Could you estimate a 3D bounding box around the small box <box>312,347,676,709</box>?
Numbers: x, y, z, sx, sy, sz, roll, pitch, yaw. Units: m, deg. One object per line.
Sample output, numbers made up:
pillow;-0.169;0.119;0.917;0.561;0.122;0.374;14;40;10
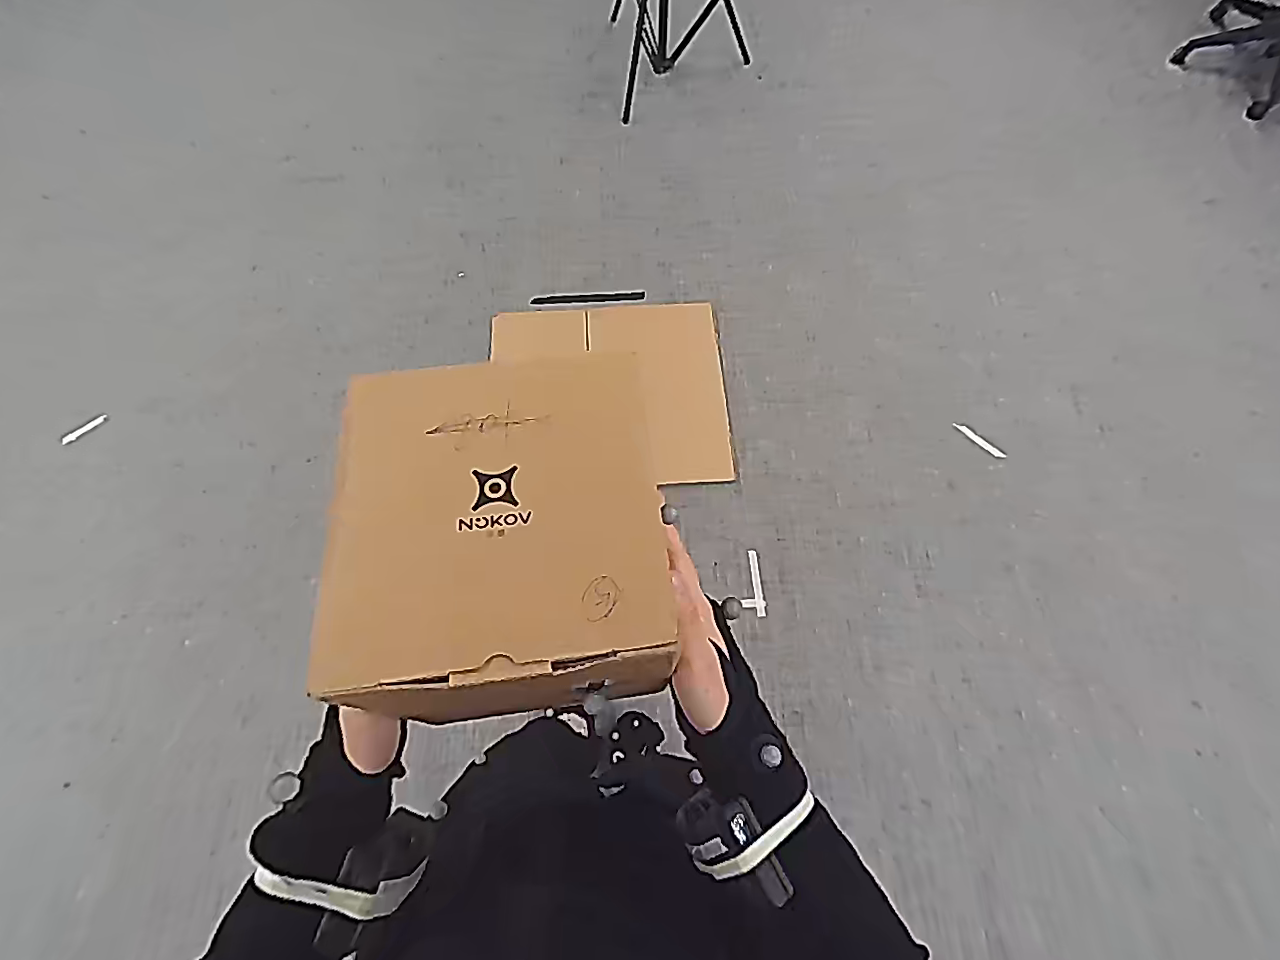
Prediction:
small box;-0.074;0.043;0.347;0.168;0.176;0.179;-7;62;-5
